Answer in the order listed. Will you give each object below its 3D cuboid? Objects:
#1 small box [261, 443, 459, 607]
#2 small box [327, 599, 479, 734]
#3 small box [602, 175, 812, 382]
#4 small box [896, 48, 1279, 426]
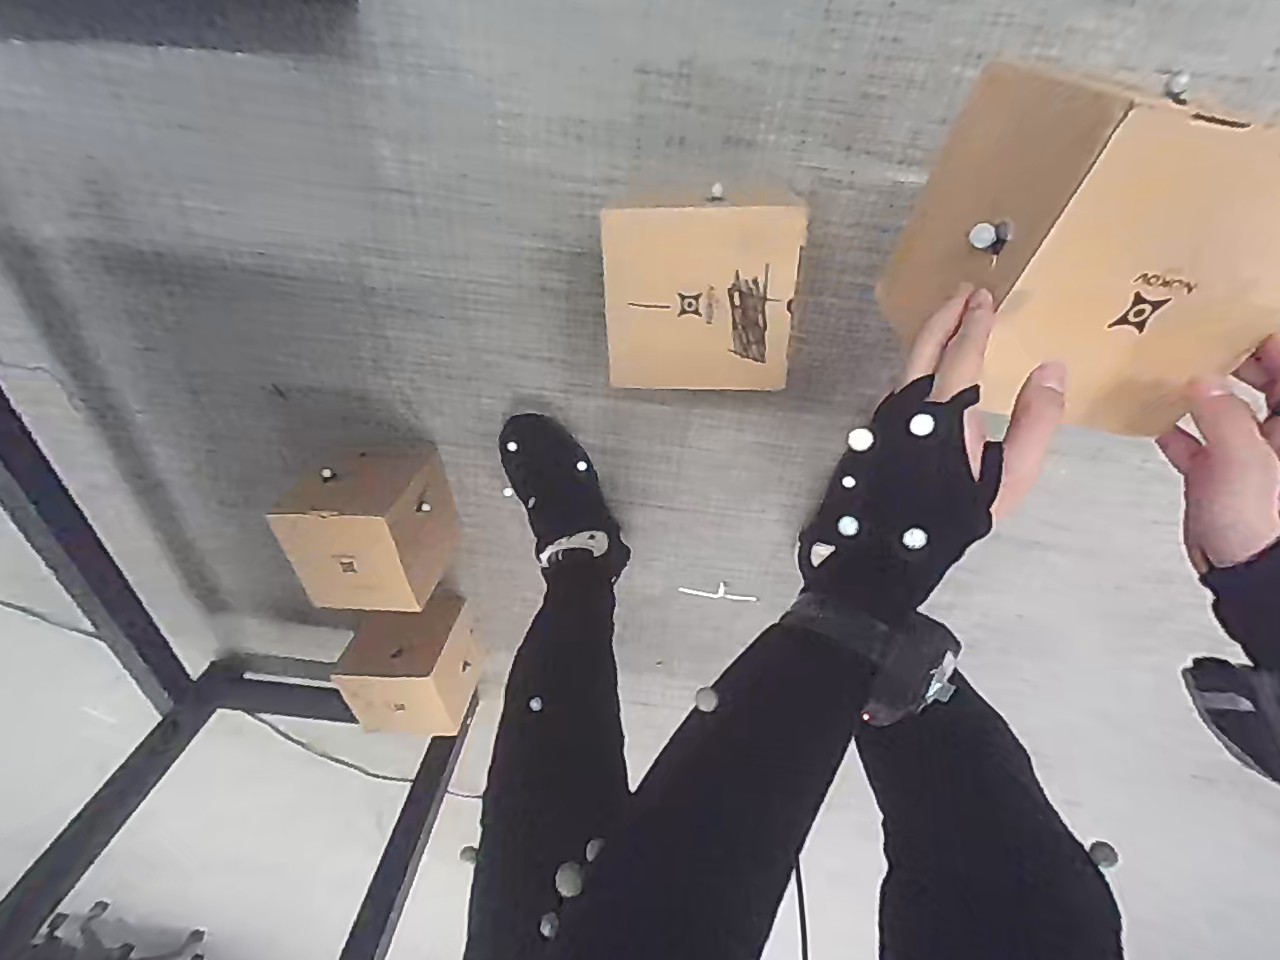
[{"bbox_3d":[-0.382,0.059,0.777,0.168,0.176,0.179,1,125,6],"label":"small box"},{"bbox_3d":[-0.399,0.323,0.954,0.179,0.176,0.168,0,123,6],"label":"small box"},{"bbox_3d":[0.061,-0.211,0.552,0.179,0.176,0.168,2,124,5],"label":"small box"},{"bbox_3d":[0.304,-0.166,0.373,0.168,0.176,0.179,9,132,-5],"label":"small box"}]
